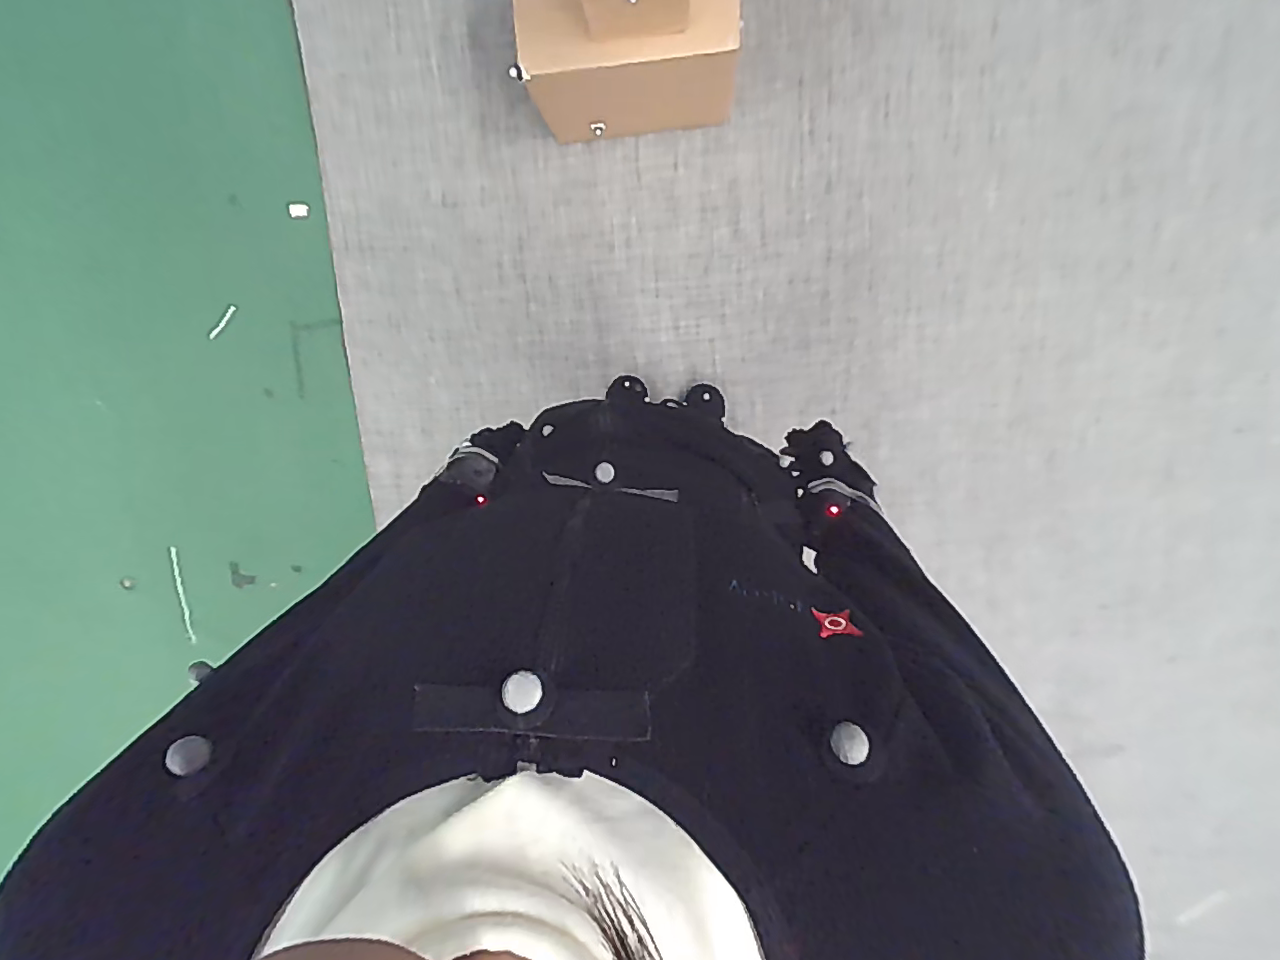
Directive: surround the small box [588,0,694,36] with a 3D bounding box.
[{"bbox_3d":[-0.005,-0.854,0.864,0.179,0.176,0.168,-3,103,6],"label":"small box"}]
